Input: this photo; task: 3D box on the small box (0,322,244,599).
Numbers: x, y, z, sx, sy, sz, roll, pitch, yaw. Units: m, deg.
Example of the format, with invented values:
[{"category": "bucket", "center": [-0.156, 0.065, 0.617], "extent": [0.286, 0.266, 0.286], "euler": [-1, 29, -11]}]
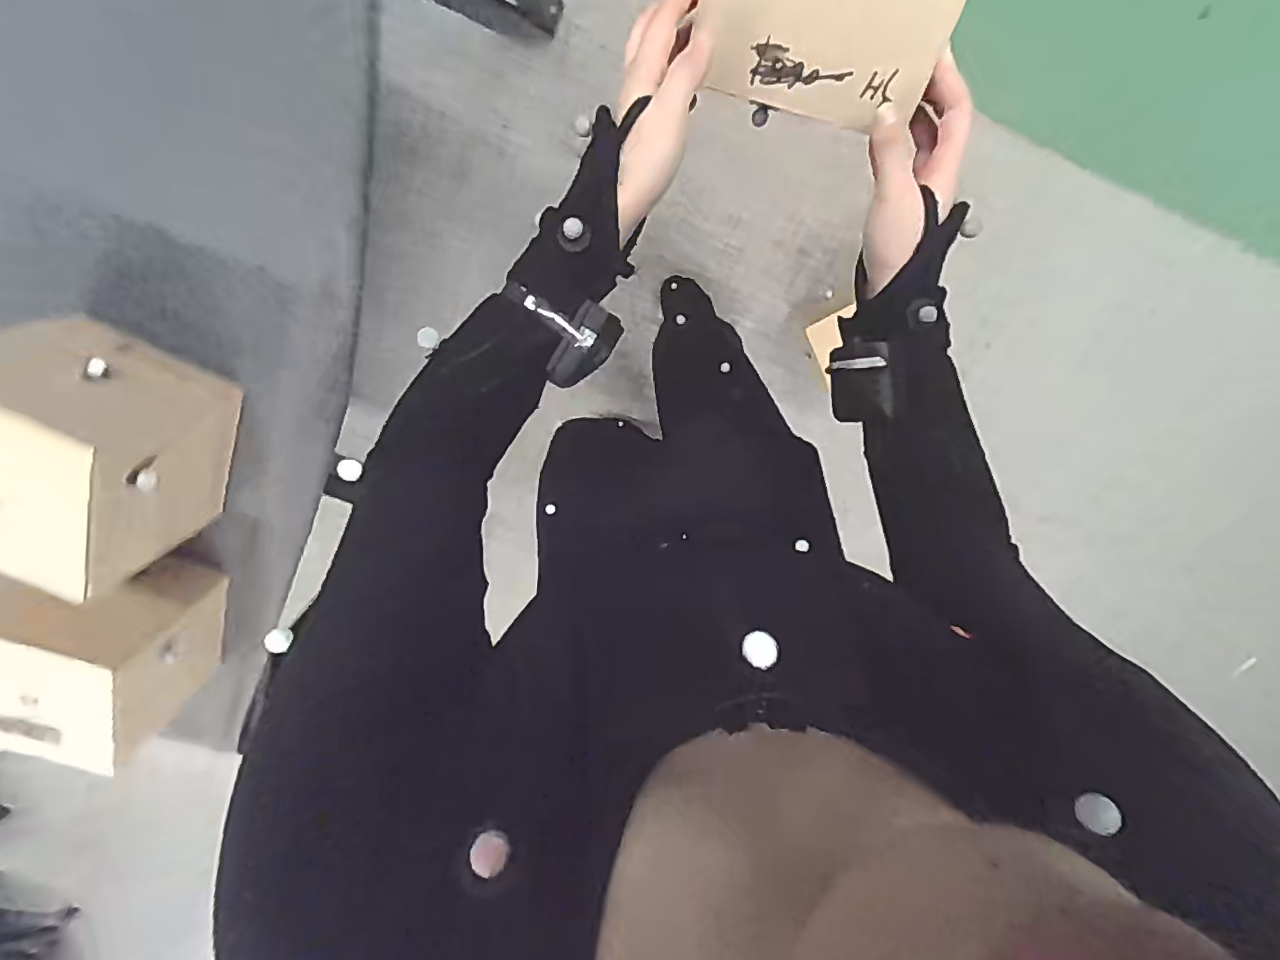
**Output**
[{"category": "small box", "center": [-0.525, -0.029, 0.517], "extent": [0.168, 0.176, 0.179], "euler": [27, 115, -9]}]

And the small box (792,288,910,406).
[{"category": "small box", "center": [0.450, -0.292, 1.169], "extent": [0.168, 0.176, 0.179], "euler": [-25, 112, 14]}]
